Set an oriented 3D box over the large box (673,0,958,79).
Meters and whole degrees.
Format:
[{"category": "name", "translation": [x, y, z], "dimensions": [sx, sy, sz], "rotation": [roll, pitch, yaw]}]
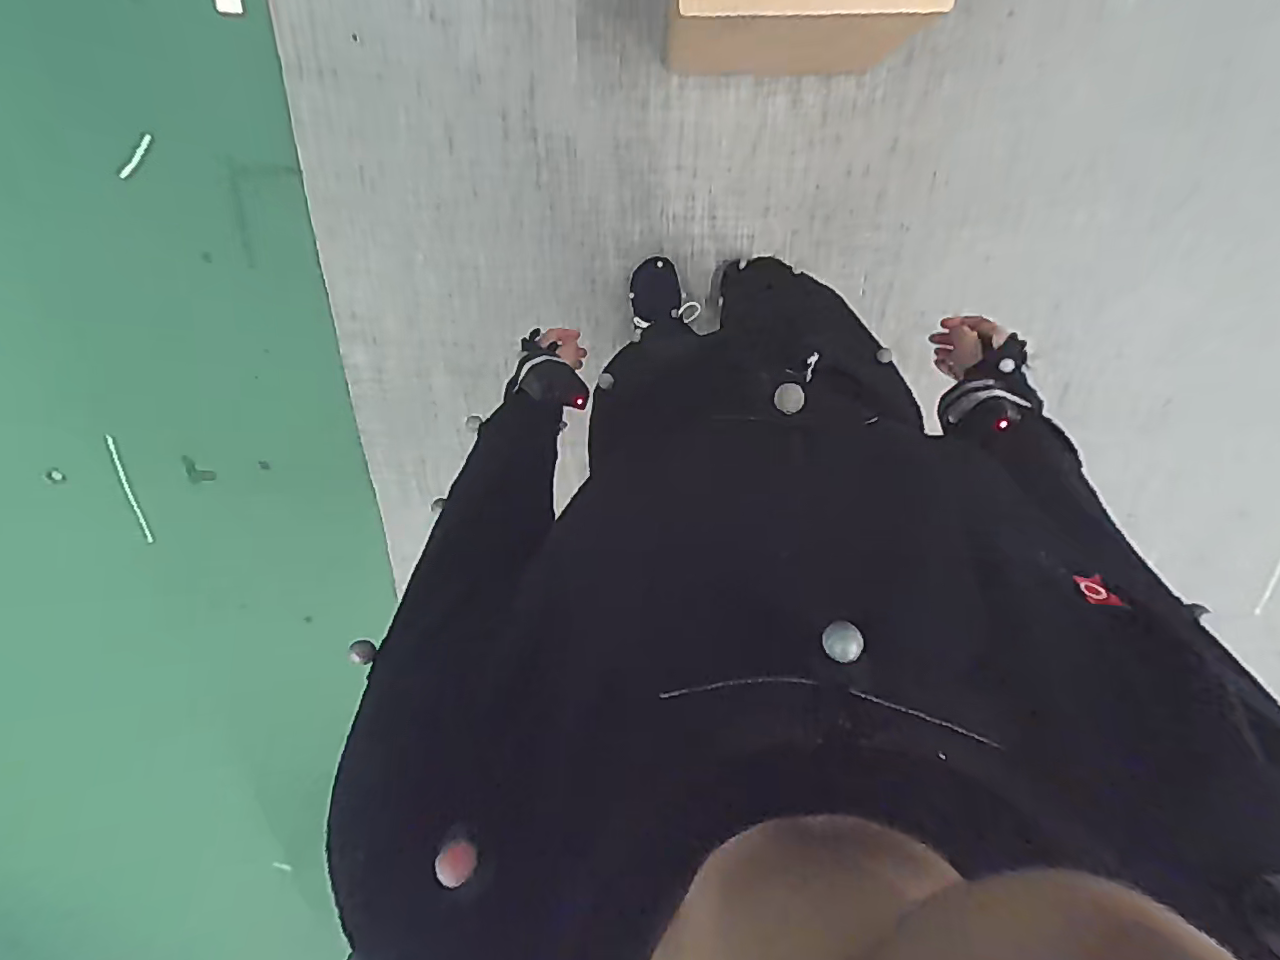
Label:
[{"category": "large box", "translation": [0.259, -0.878, 0.869], "dimensions": [0.408, 0.320, 0.320], "rotation": [-1, 115, 0]}]
